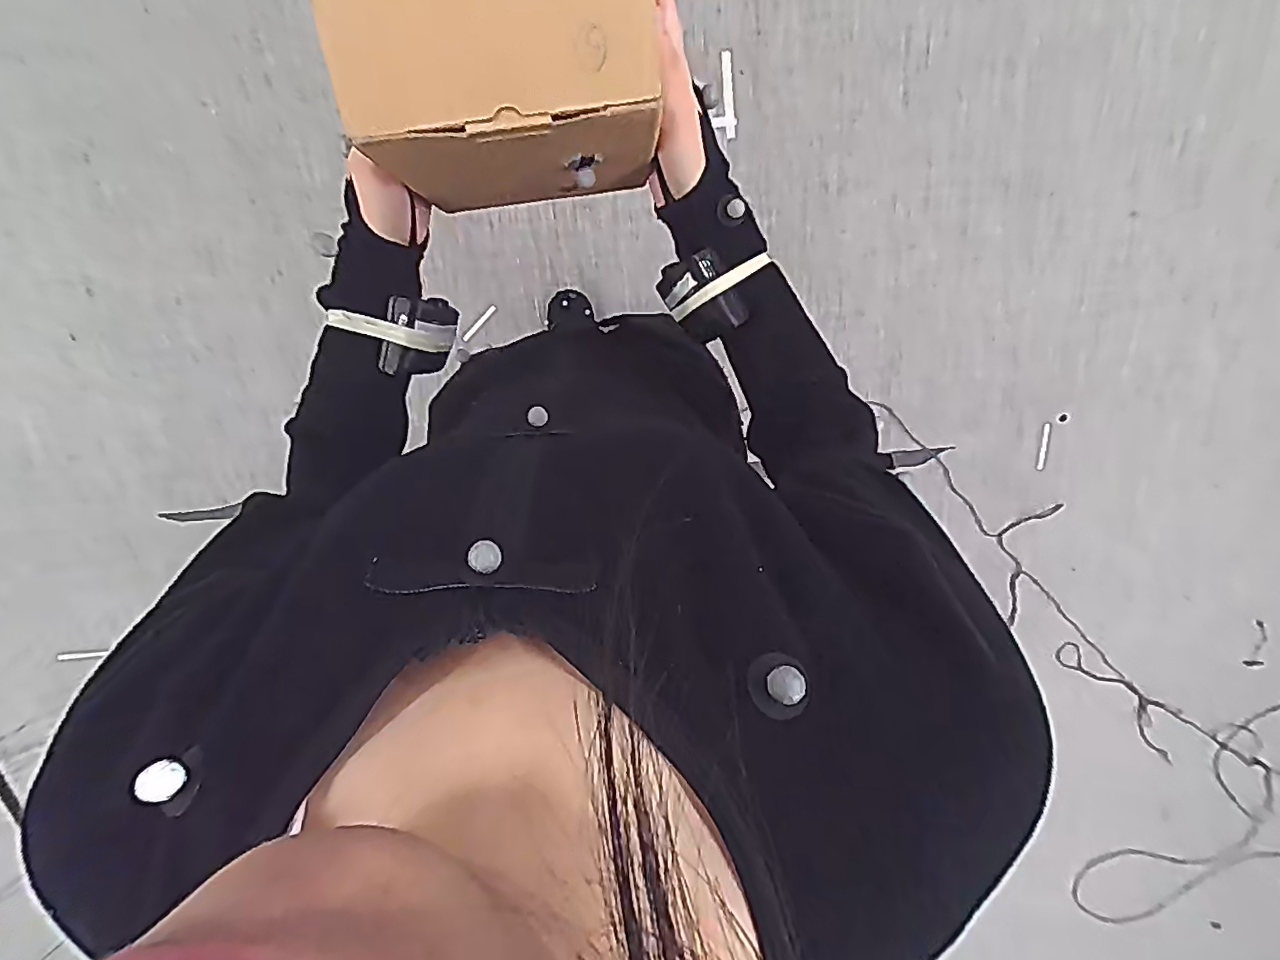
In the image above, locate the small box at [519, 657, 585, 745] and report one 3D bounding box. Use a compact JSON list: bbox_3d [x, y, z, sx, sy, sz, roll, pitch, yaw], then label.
[{"bbox_3d":[-0.258,0.663,1.631,0.168,0.176,0.179,-6,107,-2],"label":"small box"}]
